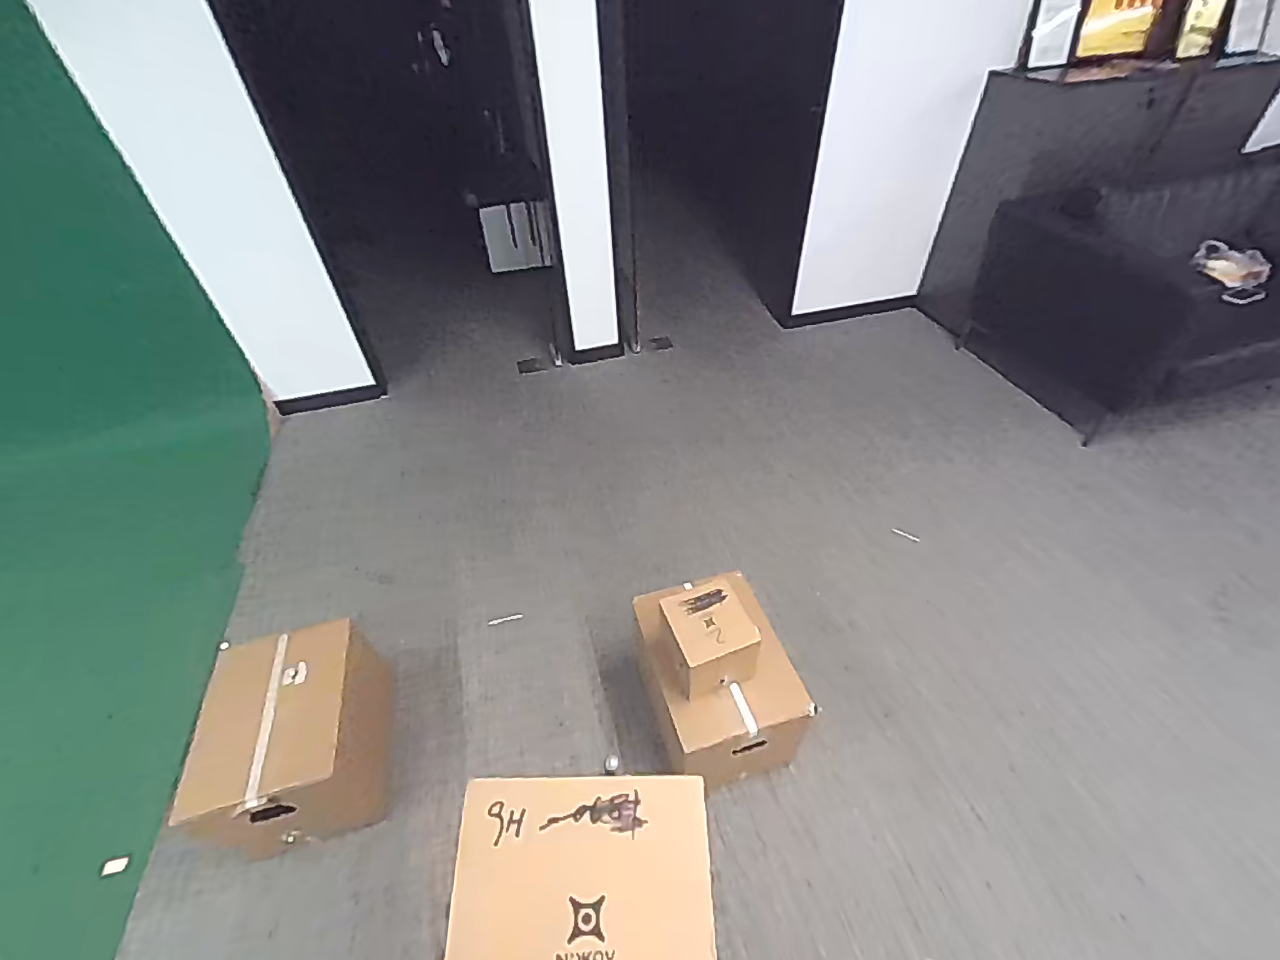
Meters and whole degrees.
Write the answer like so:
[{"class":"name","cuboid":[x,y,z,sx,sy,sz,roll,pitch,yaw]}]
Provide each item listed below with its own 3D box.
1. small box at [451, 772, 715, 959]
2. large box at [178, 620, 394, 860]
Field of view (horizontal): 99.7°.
[{"class":"small box","cuboid":[-0.044,0.322,0.407,0.168,0.176,0.179,4,59,-8]},{"class":"large box","cuboid":[-0.827,0.634,1.342,0.320,0.320,0.408,-13,44,-10]}]
